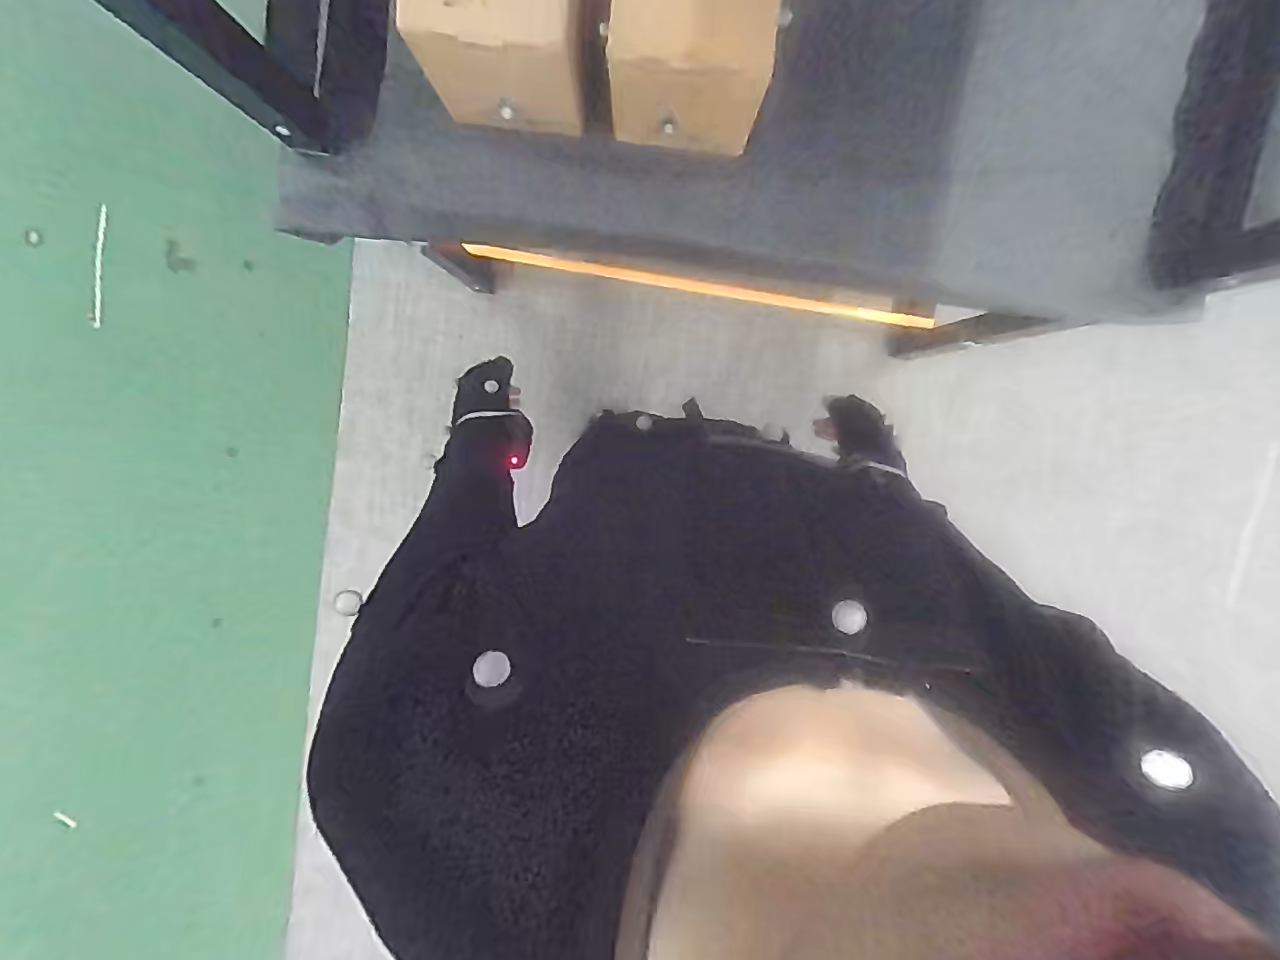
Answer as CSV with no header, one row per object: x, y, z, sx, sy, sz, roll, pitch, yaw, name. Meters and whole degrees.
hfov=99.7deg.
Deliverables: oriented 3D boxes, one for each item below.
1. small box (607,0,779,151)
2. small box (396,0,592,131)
0.057,-0.507,0.600,0.168,0.176,0.179,7,97,0,small box
-0.146,-0.528,0.594,0.168,0.176,0.179,6,97,-1,small box
